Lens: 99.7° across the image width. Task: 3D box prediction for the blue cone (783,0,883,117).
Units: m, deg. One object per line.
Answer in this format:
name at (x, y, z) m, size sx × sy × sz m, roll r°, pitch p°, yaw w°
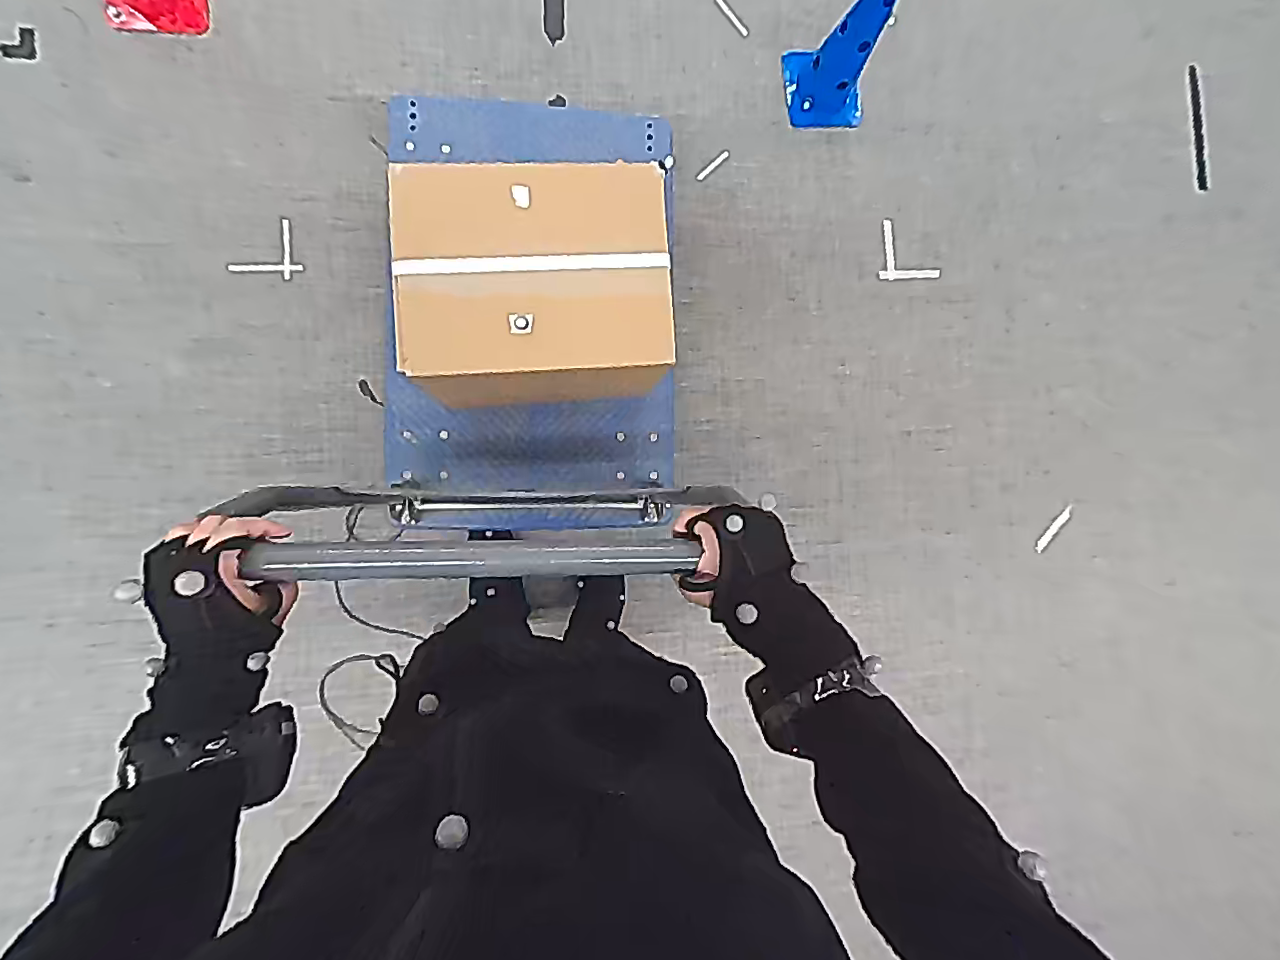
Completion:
blue cone at (0.491, -1.031, 1.226) m, size 0.193 × 0.380 × 0.192 m, roll -6°, pitch 88°, yaw -8°
